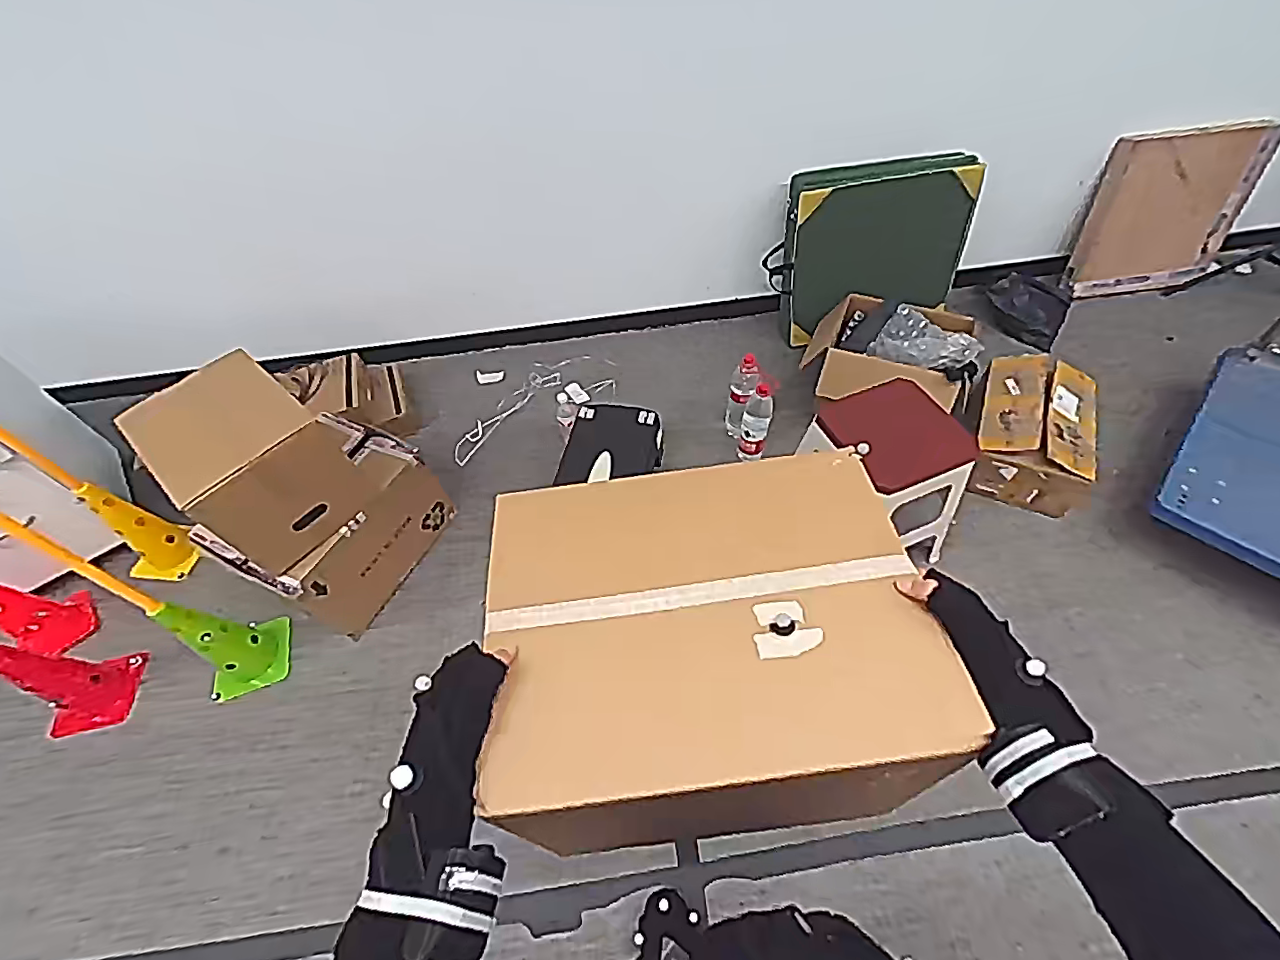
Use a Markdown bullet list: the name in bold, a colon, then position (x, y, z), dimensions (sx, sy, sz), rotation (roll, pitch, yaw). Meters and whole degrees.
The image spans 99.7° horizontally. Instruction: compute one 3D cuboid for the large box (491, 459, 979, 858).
- **large box**: position (0.071, 0.214, 0.635), dimensions (0.408, 0.320, 0.320), rotation (-8, 50, 0)
